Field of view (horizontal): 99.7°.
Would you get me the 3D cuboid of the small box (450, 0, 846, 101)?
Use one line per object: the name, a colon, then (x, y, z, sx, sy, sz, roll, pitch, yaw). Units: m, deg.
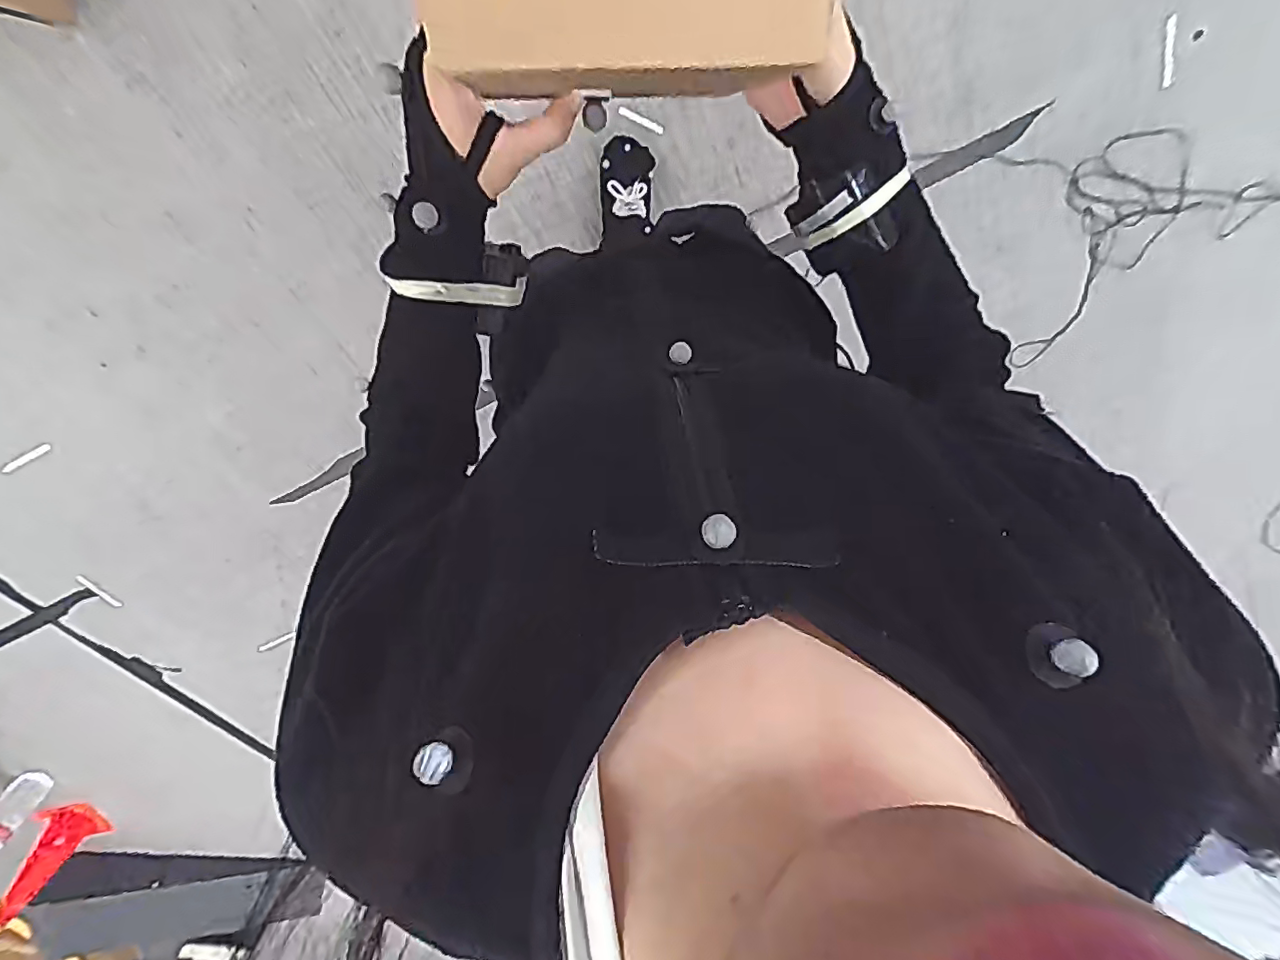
small box: (-0.007, -0.292, 0.253, 0.168, 0.176, 0.179, -6, 122, -5)
